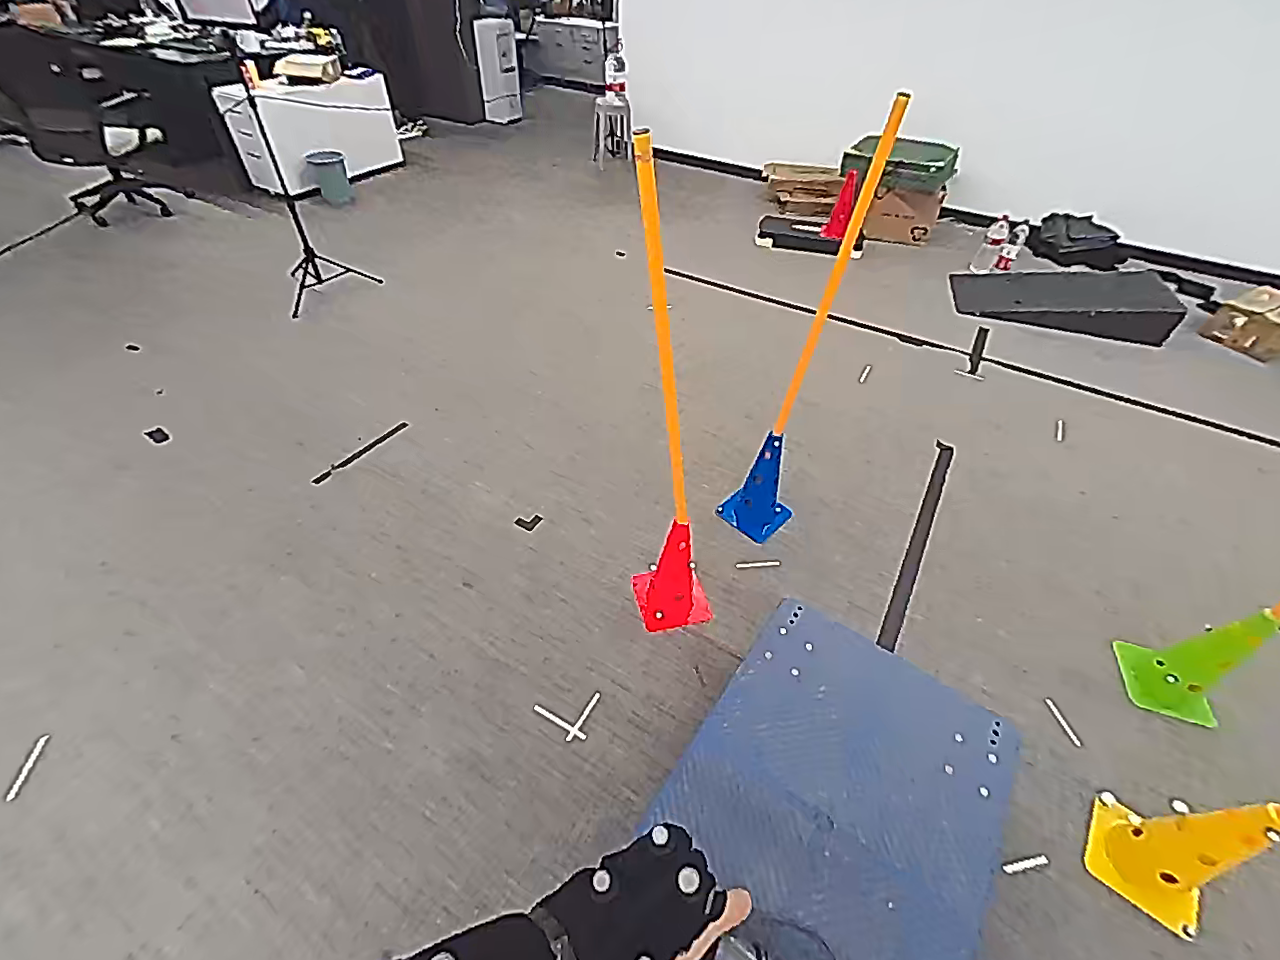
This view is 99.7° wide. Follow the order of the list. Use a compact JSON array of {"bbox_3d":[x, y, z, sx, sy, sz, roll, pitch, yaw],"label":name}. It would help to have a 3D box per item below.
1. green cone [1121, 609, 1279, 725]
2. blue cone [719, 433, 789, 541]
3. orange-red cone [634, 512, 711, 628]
[{"bbox_3d":[1.428,0.420,1.329,0.200,0.368,0.202,14,47,11],"label":"green cone"},{"bbox_3d":[0.394,-0.003,1.716,0.192,0.380,0.193,-34,56,-30],"label":"blue cone"},{"bbox_3d":[0.102,0.215,1.463,0.199,0.360,0.198,-7,47,-12],"label":"orange-red cone"}]
